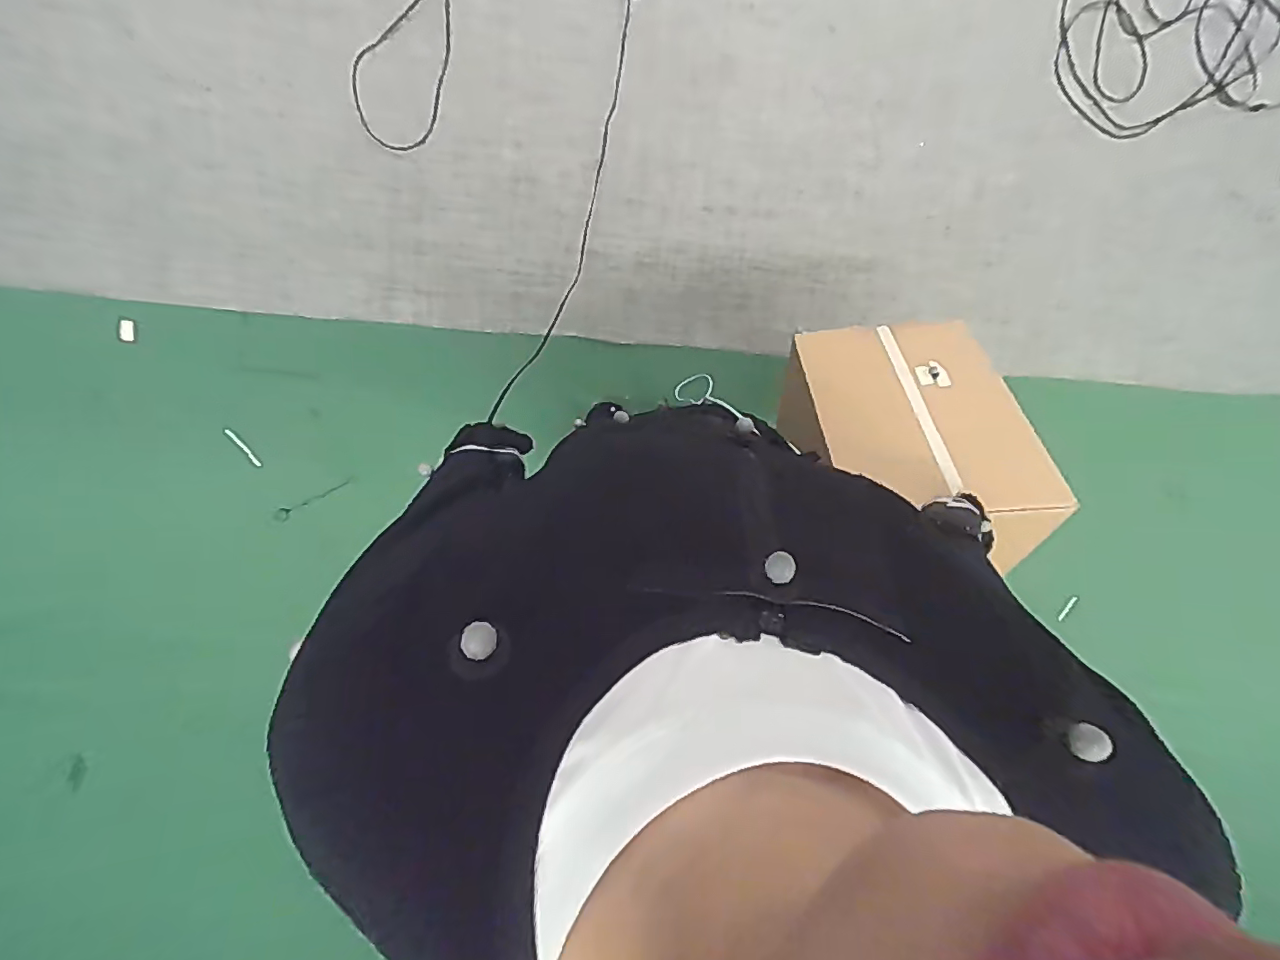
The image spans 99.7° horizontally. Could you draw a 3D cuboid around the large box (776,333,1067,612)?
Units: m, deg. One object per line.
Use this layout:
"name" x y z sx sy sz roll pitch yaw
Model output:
"large box" 0.453 -0.012 0.997 0.320 0.408 0.320 -4 143 2
